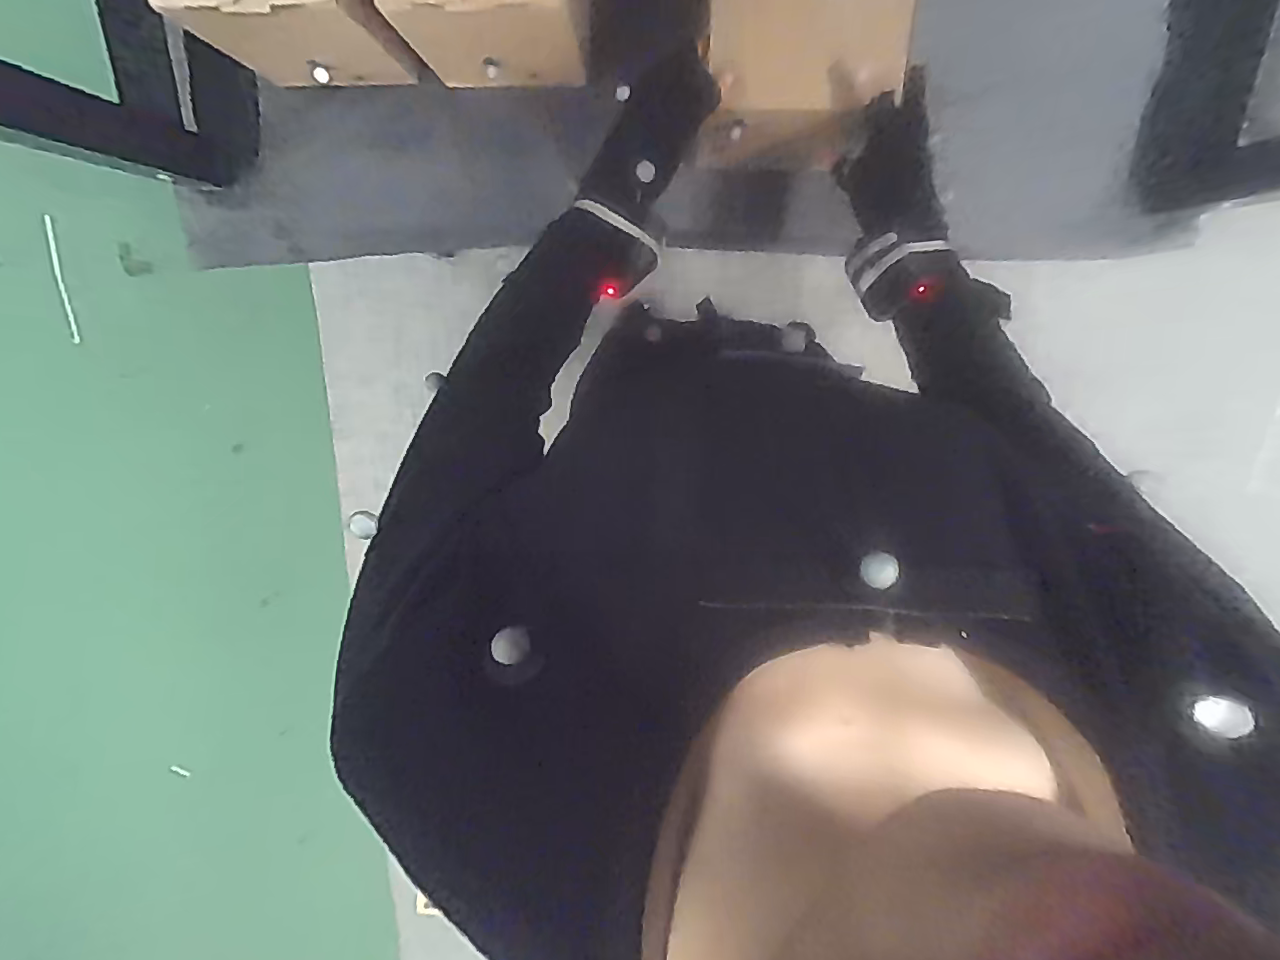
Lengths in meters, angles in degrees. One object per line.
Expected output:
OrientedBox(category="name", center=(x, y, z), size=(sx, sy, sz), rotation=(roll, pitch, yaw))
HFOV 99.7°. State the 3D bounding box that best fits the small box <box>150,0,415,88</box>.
OrientedBox(category="small box", center=(-0.334, -0.506, 0.511), size=(0.168, 0.176, 0.179), rotation=(1, 107, 2))
